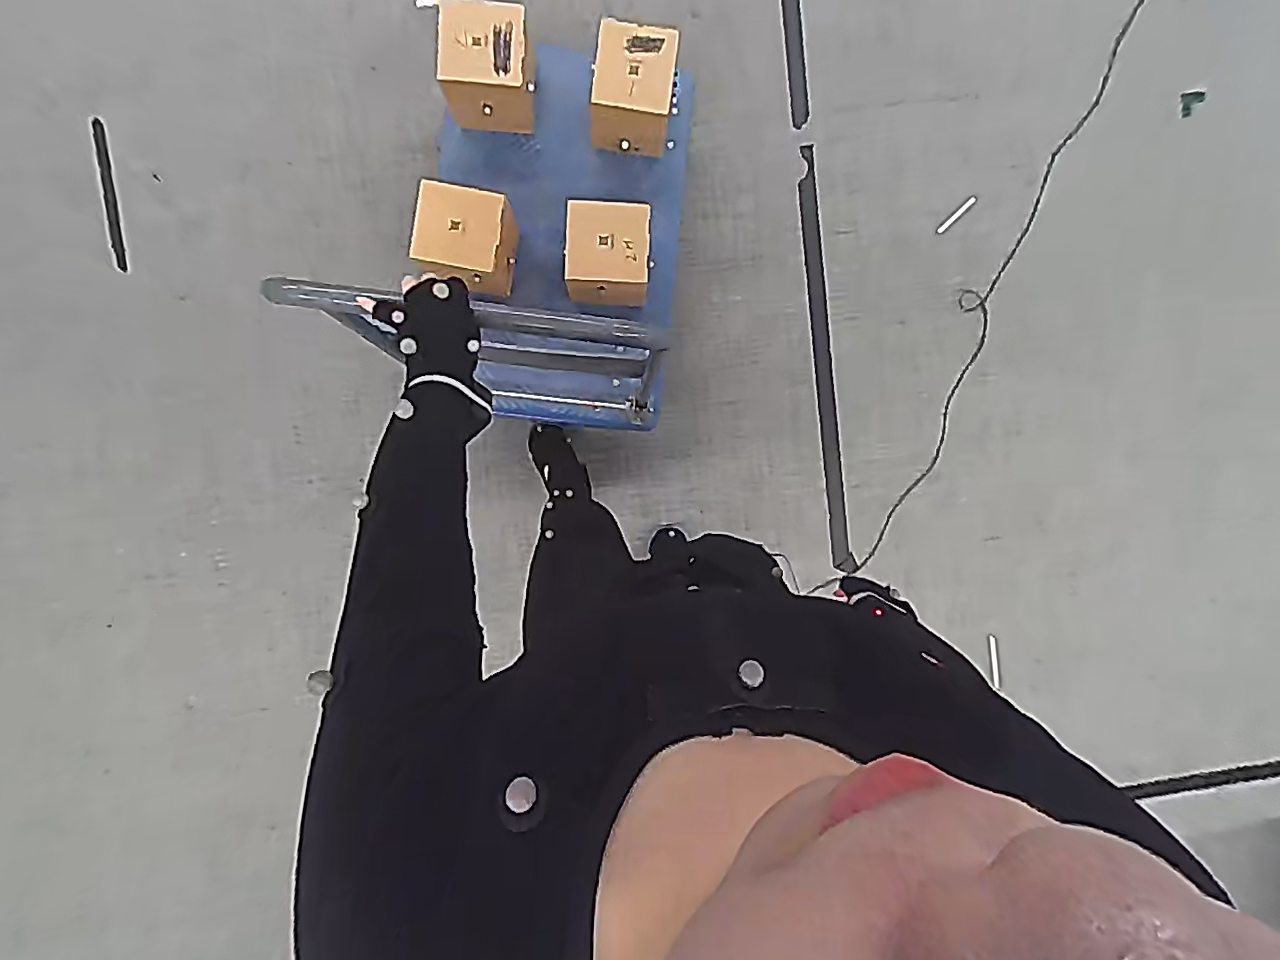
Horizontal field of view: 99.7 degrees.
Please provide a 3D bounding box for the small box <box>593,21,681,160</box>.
[{"bbox_3d":[-0.011,-0.853,1.199,0.168,0.176,0.179,8,92,-3],"label":"small box"}]

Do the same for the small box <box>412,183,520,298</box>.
[{"bbox_3d":[-0.376,-0.518,1.193,0.179,0.176,0.168,9,91,-4],"label":"small box"}]

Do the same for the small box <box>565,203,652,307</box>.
[{"bbox_3d":[-0.067,-0.493,1.205,0.179,0.176,0.168,2,91,-2],"label":"small box"}]
